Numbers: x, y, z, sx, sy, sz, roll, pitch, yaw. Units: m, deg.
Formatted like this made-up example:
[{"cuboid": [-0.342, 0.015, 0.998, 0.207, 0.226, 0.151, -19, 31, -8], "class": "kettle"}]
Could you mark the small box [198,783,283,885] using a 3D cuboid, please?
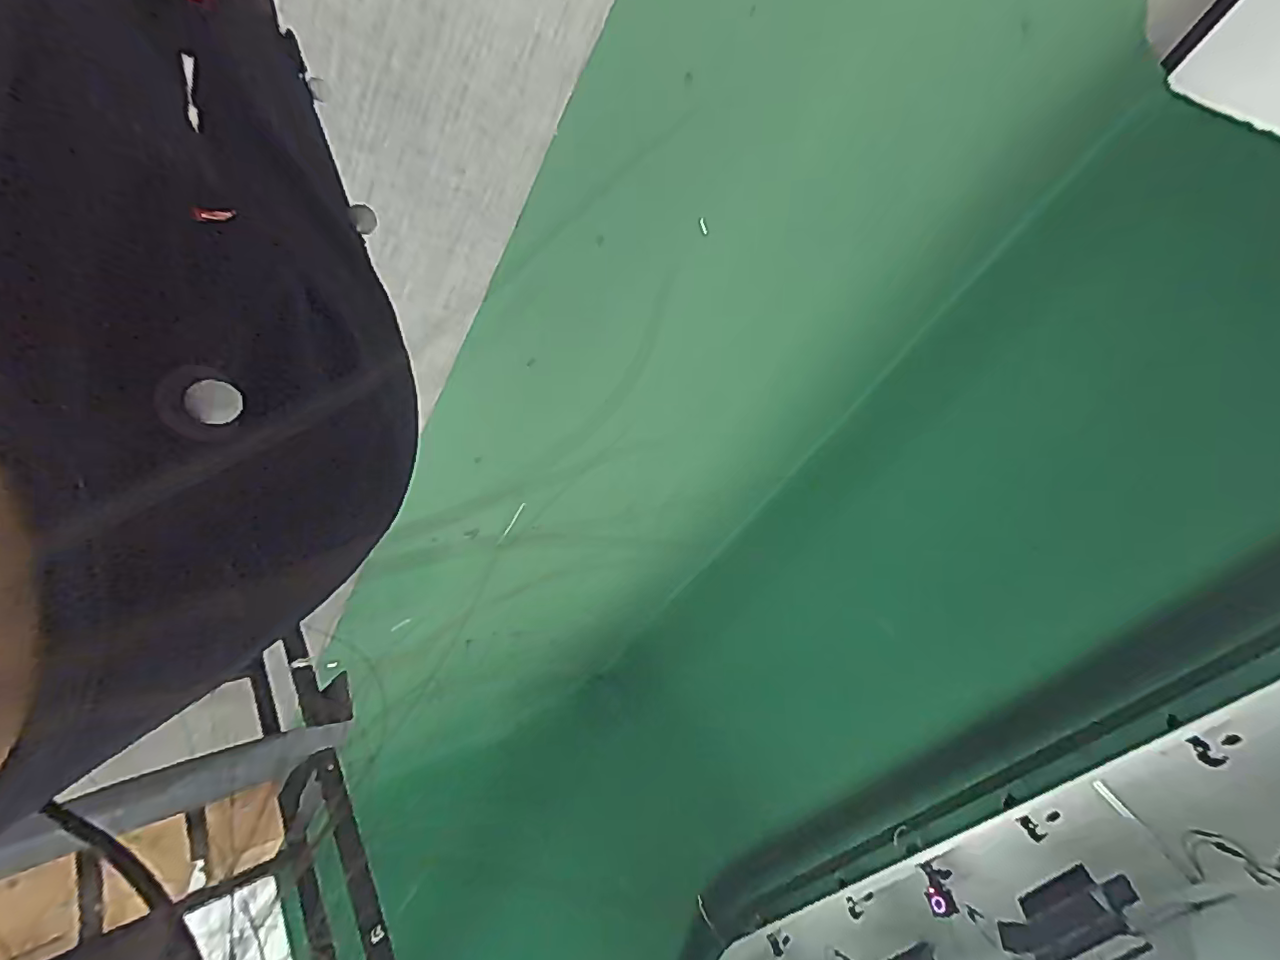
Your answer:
[{"cuboid": [-1.176, 1.030, 1.586, 0.168, 0.176, 0.179, -3, 138, -48], "class": "small box"}]
